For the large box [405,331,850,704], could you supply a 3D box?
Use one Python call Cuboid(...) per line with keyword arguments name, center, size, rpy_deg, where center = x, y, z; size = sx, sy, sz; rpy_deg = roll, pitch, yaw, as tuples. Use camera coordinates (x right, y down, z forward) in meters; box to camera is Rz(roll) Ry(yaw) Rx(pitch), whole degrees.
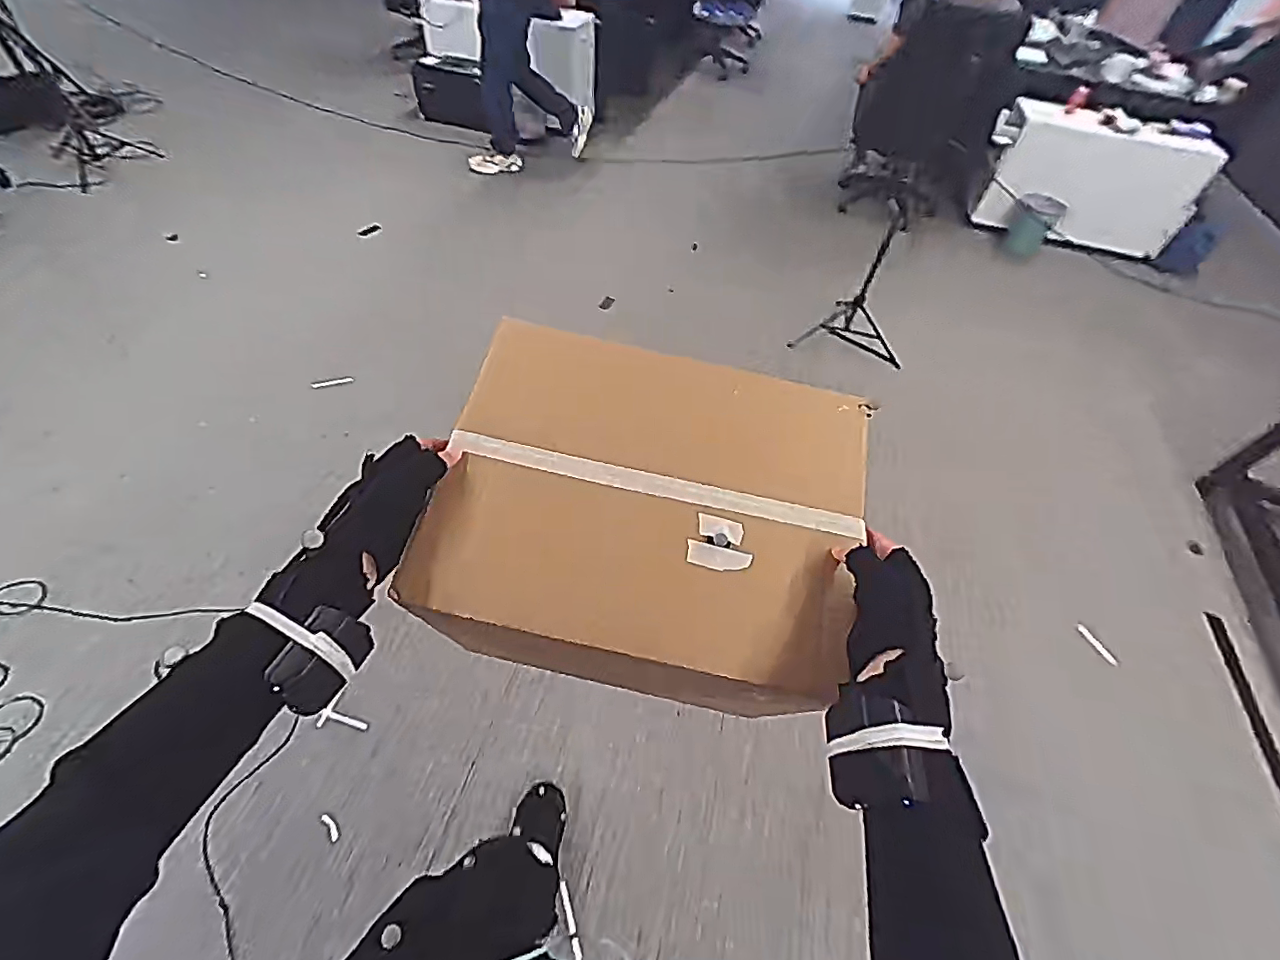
Cuboid(name="large box", center=(-0.003, 0.070, 0.670), size=(0.408, 0.320, 0.320), rpy_deg=(13, 65, 0))
